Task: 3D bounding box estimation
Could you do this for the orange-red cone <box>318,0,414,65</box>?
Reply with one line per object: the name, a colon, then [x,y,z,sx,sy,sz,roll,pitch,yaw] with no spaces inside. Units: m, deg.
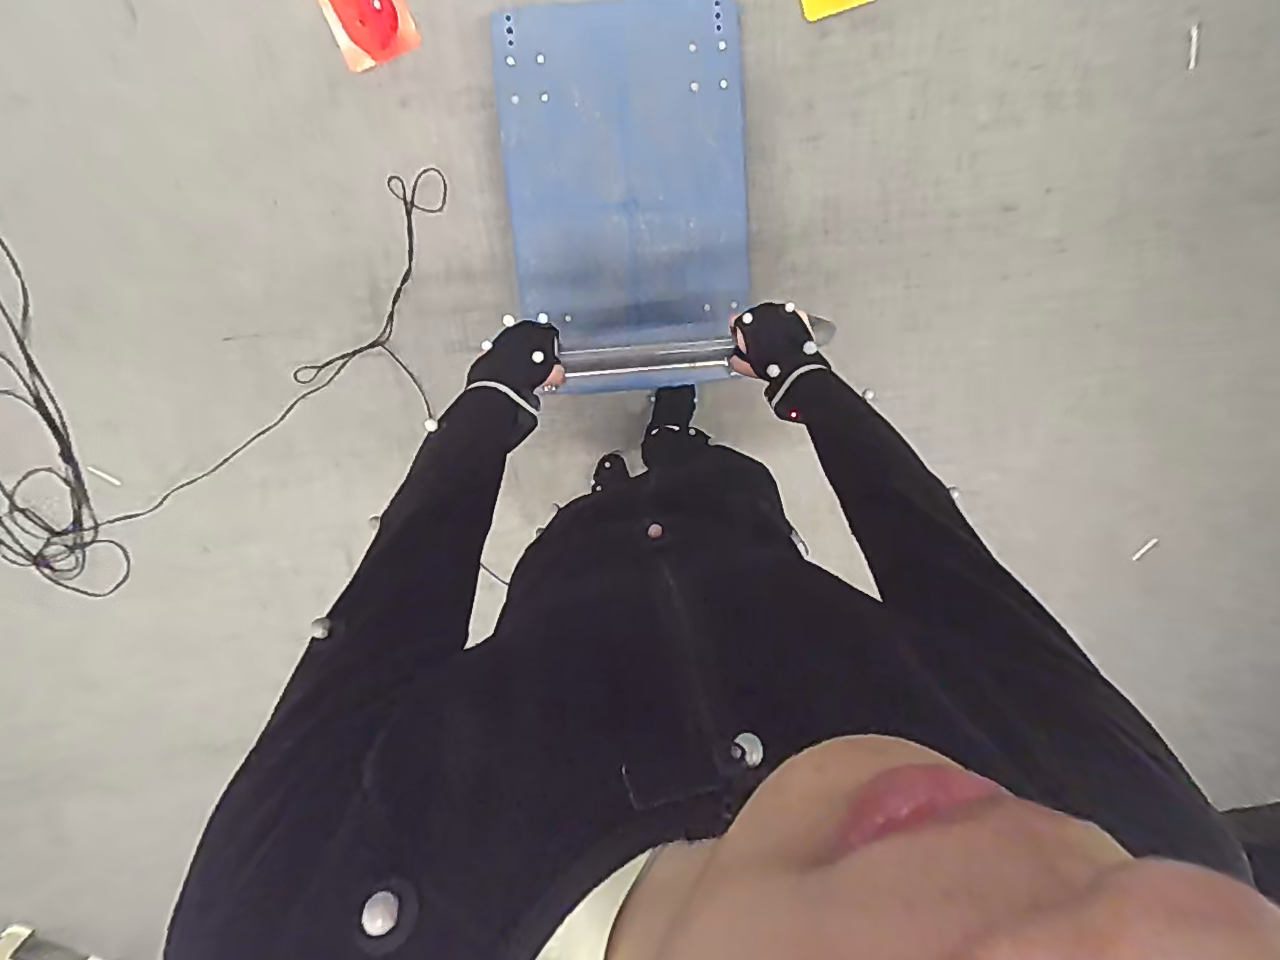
orange-red cone: [-0.681,-1.133,1.180,0.199,0.360,0.198,-21,100,3]
